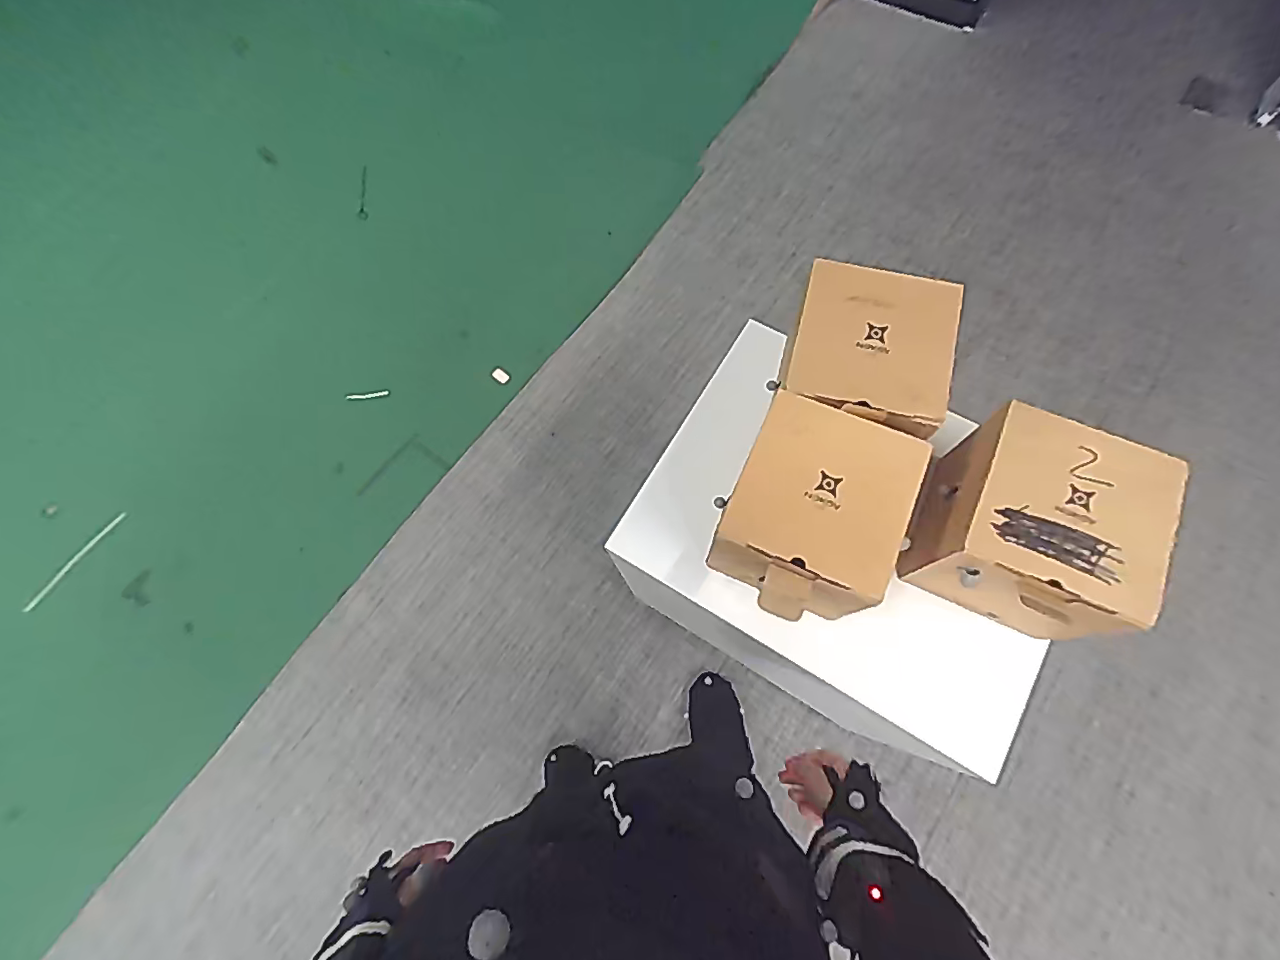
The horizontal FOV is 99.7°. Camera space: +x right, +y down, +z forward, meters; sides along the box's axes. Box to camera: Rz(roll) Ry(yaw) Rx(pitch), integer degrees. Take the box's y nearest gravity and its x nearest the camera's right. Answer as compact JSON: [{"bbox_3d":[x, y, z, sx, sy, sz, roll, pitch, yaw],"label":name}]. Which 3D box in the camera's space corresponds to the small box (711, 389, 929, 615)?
[{"bbox_3d":[0.185,0.034,0.605,0.168,0.176,0.179,22,74,11],"label":"small box"}]
